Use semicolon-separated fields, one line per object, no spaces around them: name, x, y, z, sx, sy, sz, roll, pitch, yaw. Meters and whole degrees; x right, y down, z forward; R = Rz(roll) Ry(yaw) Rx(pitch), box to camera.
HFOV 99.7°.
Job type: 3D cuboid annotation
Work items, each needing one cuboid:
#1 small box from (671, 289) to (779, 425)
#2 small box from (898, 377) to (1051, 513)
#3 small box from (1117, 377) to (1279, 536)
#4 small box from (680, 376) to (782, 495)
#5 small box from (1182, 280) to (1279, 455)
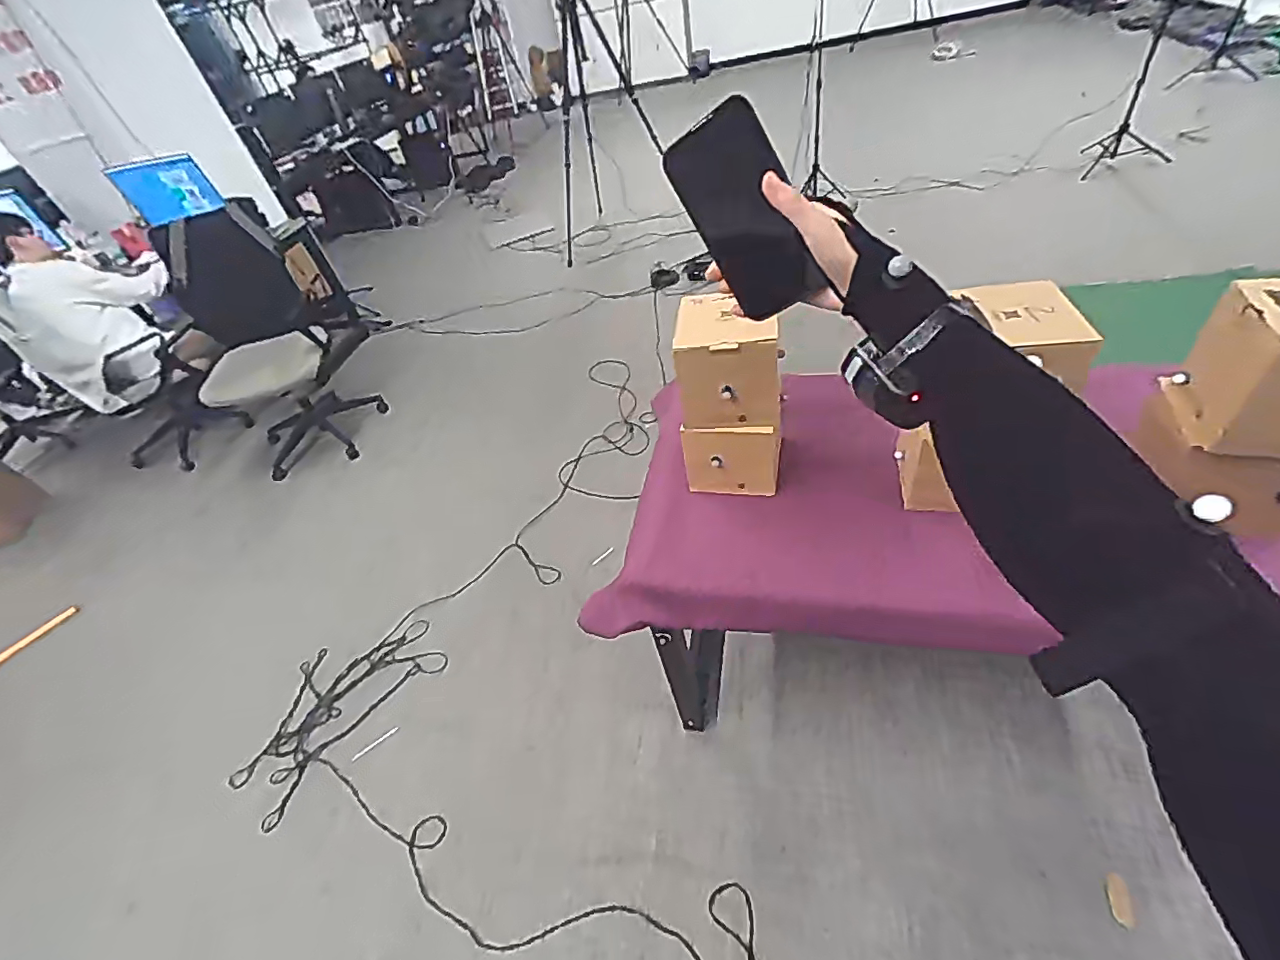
small box;0.156;-0.208;0.946;0.168;0.176;0.179;-1;46;13
small box;0.553;-0.058;0.923;0.179;0.176;0.168;2;46;17
small box;0.874;-0.035;0.814;0.179;0.176;0.168;7;47;22
small box;0.185;-0.087;1.053;0.168;0.176;0.179;3;46;18
small box;0.849;-0.139;0.689;0.179;0.176;0.168;7;47;21
